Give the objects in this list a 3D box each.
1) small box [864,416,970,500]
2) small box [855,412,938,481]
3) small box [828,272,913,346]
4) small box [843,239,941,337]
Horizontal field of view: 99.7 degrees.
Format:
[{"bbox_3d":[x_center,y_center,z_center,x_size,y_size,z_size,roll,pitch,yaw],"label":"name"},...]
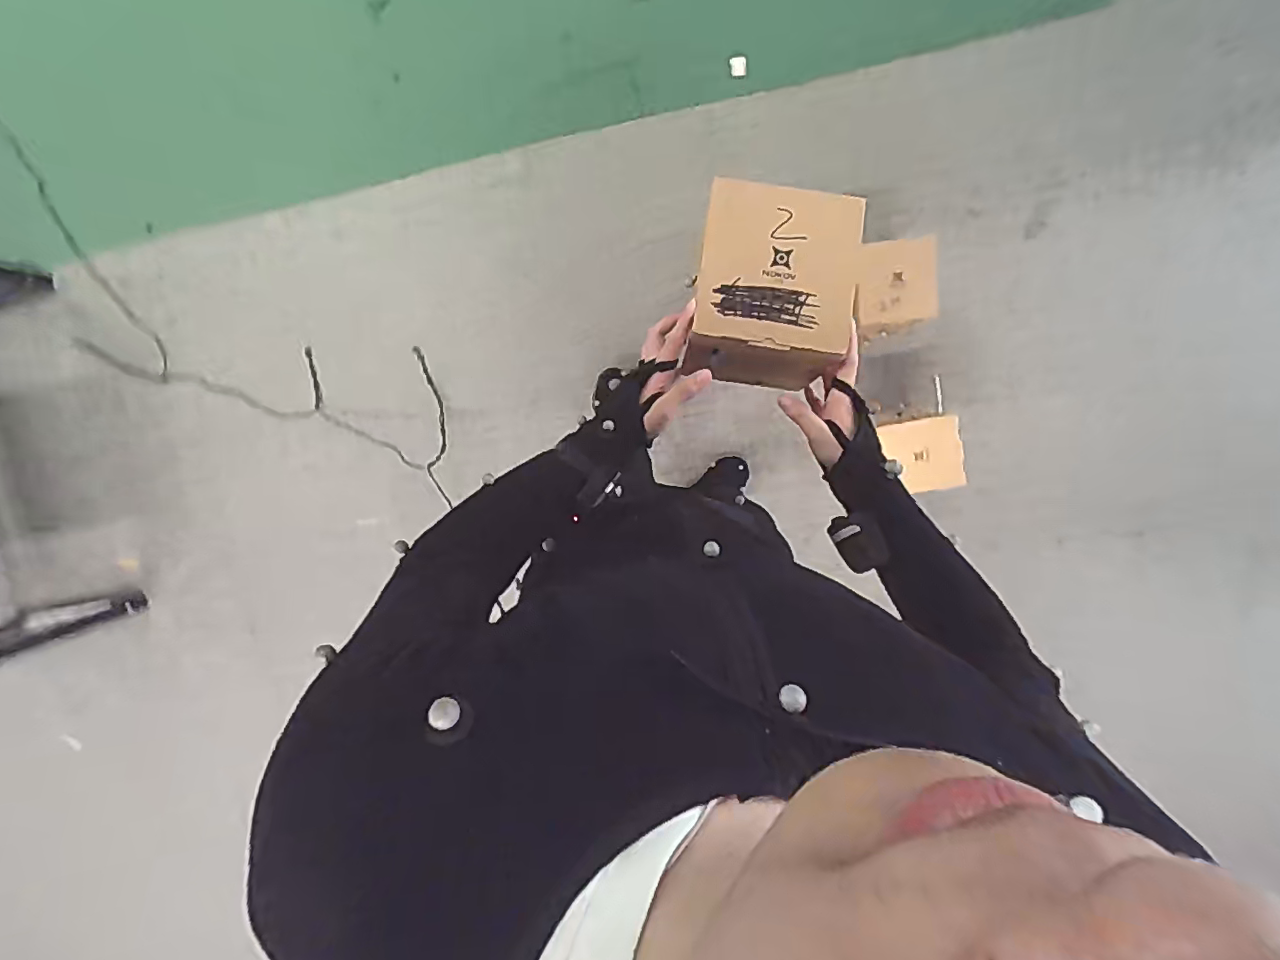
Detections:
[{"bbox_3d":[0.647,-0.056,1.286,0.179,0.176,0.168,-10,96,8],"label":"small box"},{"bbox_3d":[0.682,-0.084,1.442,0.168,0.176,0.179,-6,97,8],"label":"small box"},{"bbox_3d":[0.595,-0.446,1.408,0.168,0.176,0.179,-5,98,8],"label":"small box"},{"bbox_3d":[0.573,-0.434,1.245,0.168,0.176,0.179,-4,98,8],"label":"small box"}]
